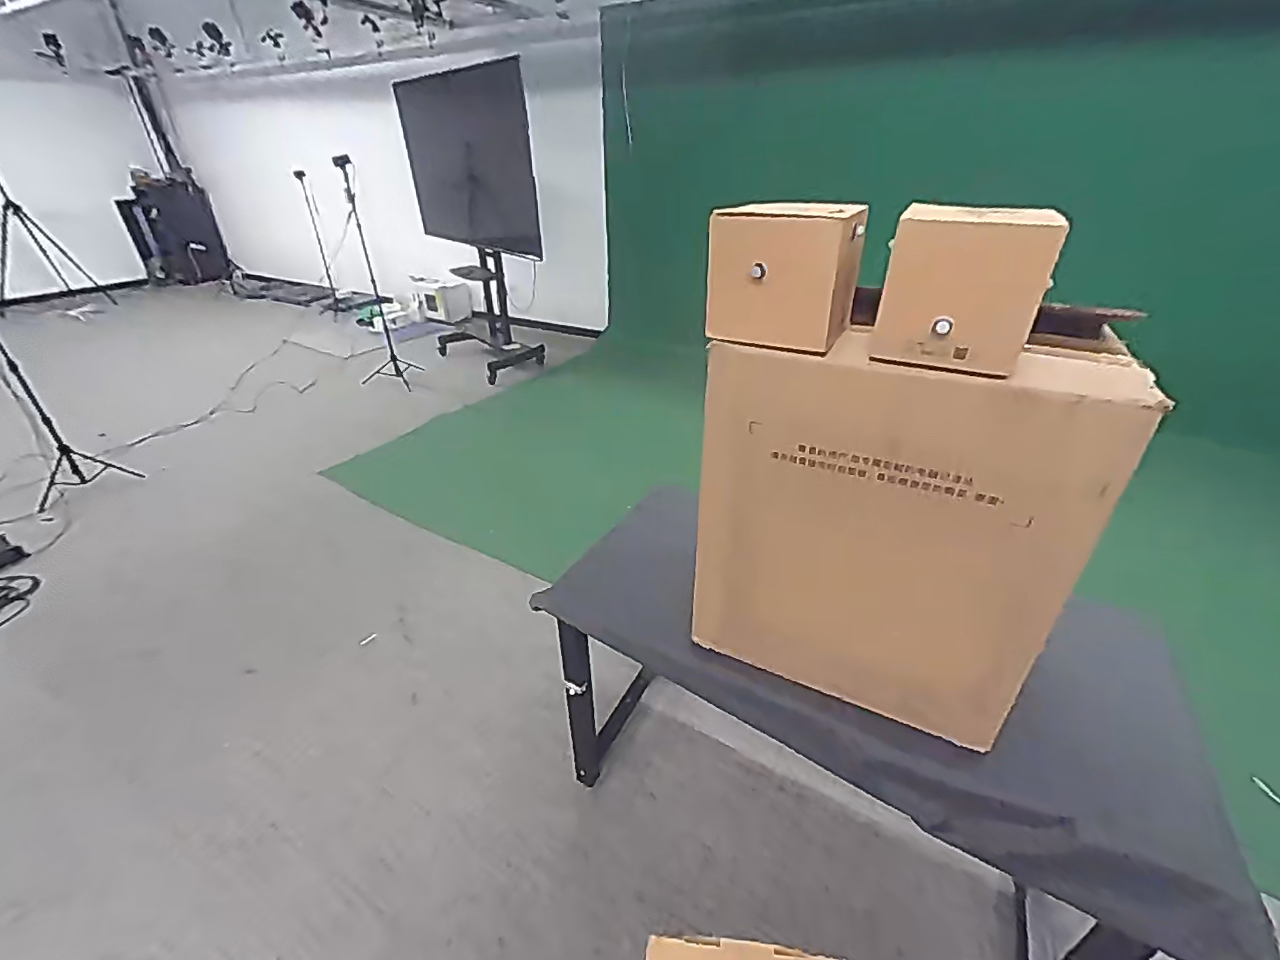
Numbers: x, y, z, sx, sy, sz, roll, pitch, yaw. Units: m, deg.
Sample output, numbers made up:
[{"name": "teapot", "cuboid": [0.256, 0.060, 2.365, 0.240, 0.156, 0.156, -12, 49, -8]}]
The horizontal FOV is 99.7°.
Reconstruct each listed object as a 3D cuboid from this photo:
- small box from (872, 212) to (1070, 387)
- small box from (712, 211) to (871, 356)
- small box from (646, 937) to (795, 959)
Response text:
[{"name": "small box", "cuboid": [0.411, -0.237, 0.694, 0.168, 0.176, 0.179, 16, 36, 24]}, {"name": "small box", "cuboid": [0.212, -0.286, 0.777, 0.179, 0.176, 0.168, 15, 35, 25]}, {"name": "small box", "cuboid": [0.072, 0.491, 0.389, 0.168, 0.176, 0.179, 4, 19, 4]}]
